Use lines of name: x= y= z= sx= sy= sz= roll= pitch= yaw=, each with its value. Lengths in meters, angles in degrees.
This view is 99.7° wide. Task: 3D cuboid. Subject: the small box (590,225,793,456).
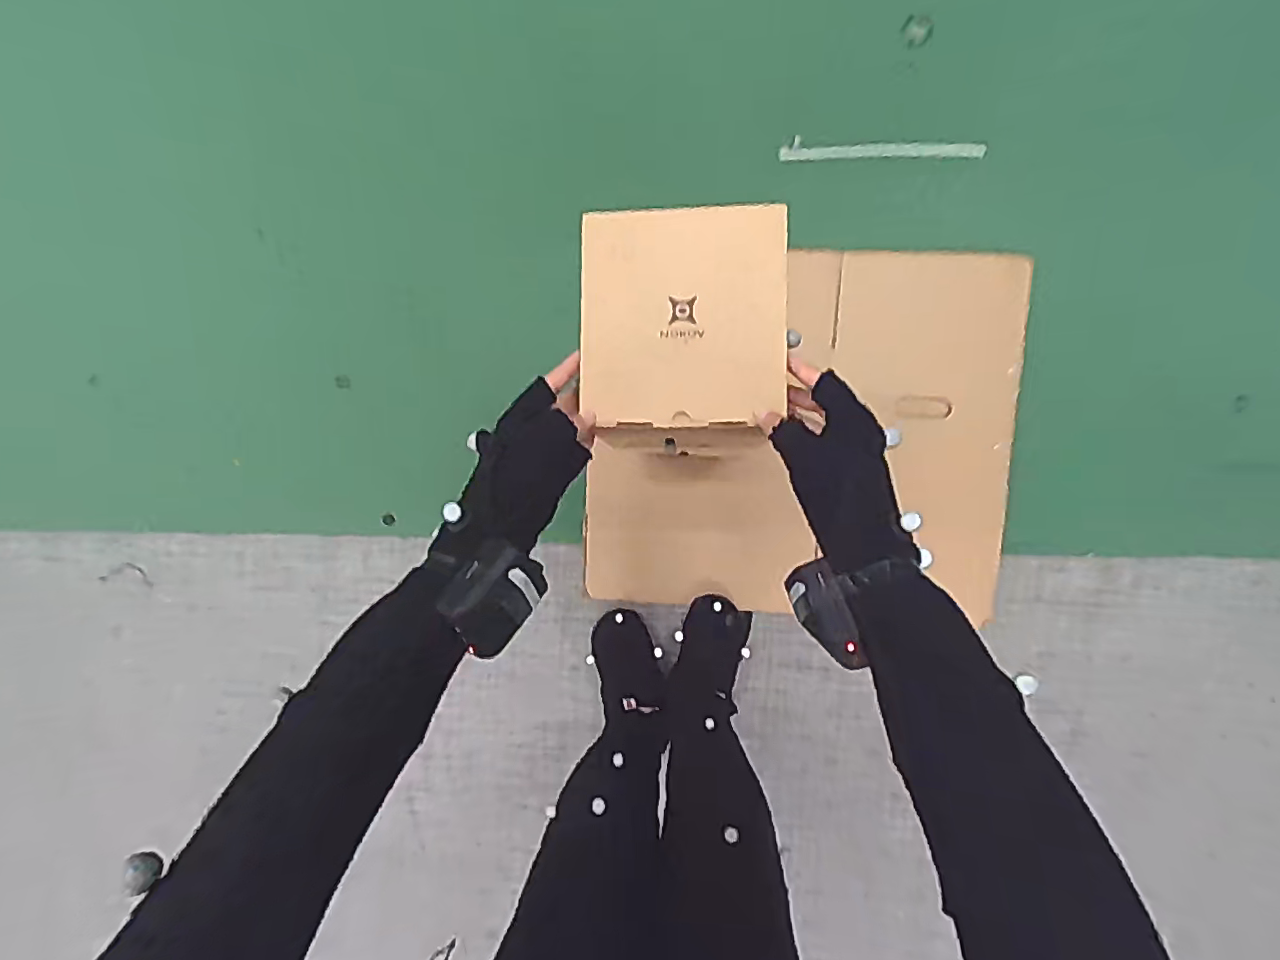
small box: x=0.048 y=-0.119 z=0.521 sx=0.168 sy=0.176 sz=0.179 roll=0 pitch=88 yaw=6

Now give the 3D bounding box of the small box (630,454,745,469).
small box: x=0.080 y=-0.114 z=0.832 sx=0.168 sy=0.176 sz=0.179 roll=4 pitch=95 yaw=6
